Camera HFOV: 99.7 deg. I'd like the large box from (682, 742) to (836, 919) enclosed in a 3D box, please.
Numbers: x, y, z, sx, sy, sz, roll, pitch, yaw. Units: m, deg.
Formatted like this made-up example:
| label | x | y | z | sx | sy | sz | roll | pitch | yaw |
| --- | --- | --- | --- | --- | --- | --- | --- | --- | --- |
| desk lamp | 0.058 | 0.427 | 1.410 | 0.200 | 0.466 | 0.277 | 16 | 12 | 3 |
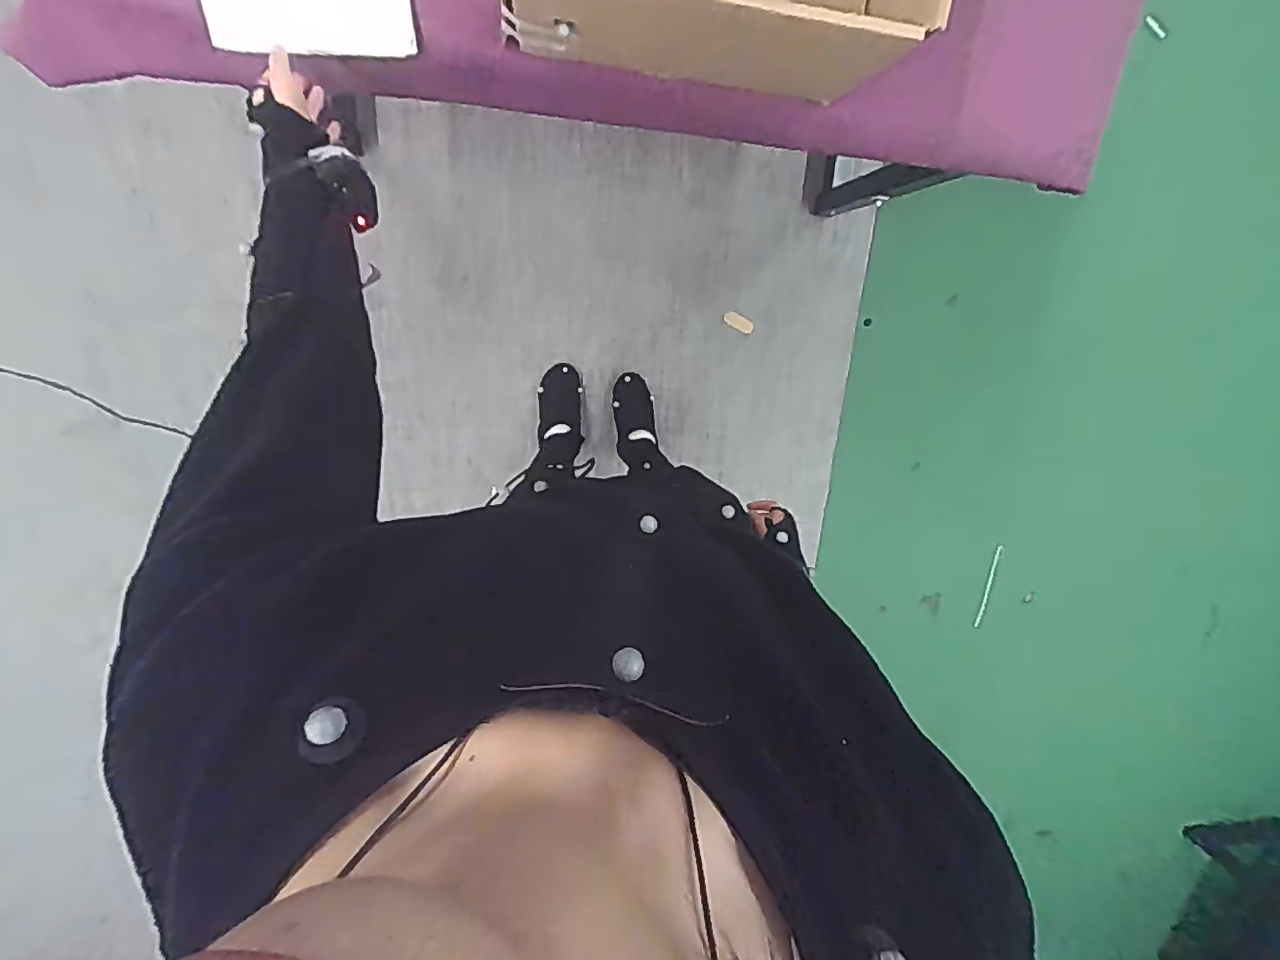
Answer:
| label | x | y | z | sx | sy | sz | roll | pitch | yaw |
| --- | --- | --- | --- | --- | --- | --- | --- | --- | --- |
| large box | 0.389 | 1.161 | 1.822 | 0.408 | 0.320 | 0.320 | -14 | 110 | -6 |
